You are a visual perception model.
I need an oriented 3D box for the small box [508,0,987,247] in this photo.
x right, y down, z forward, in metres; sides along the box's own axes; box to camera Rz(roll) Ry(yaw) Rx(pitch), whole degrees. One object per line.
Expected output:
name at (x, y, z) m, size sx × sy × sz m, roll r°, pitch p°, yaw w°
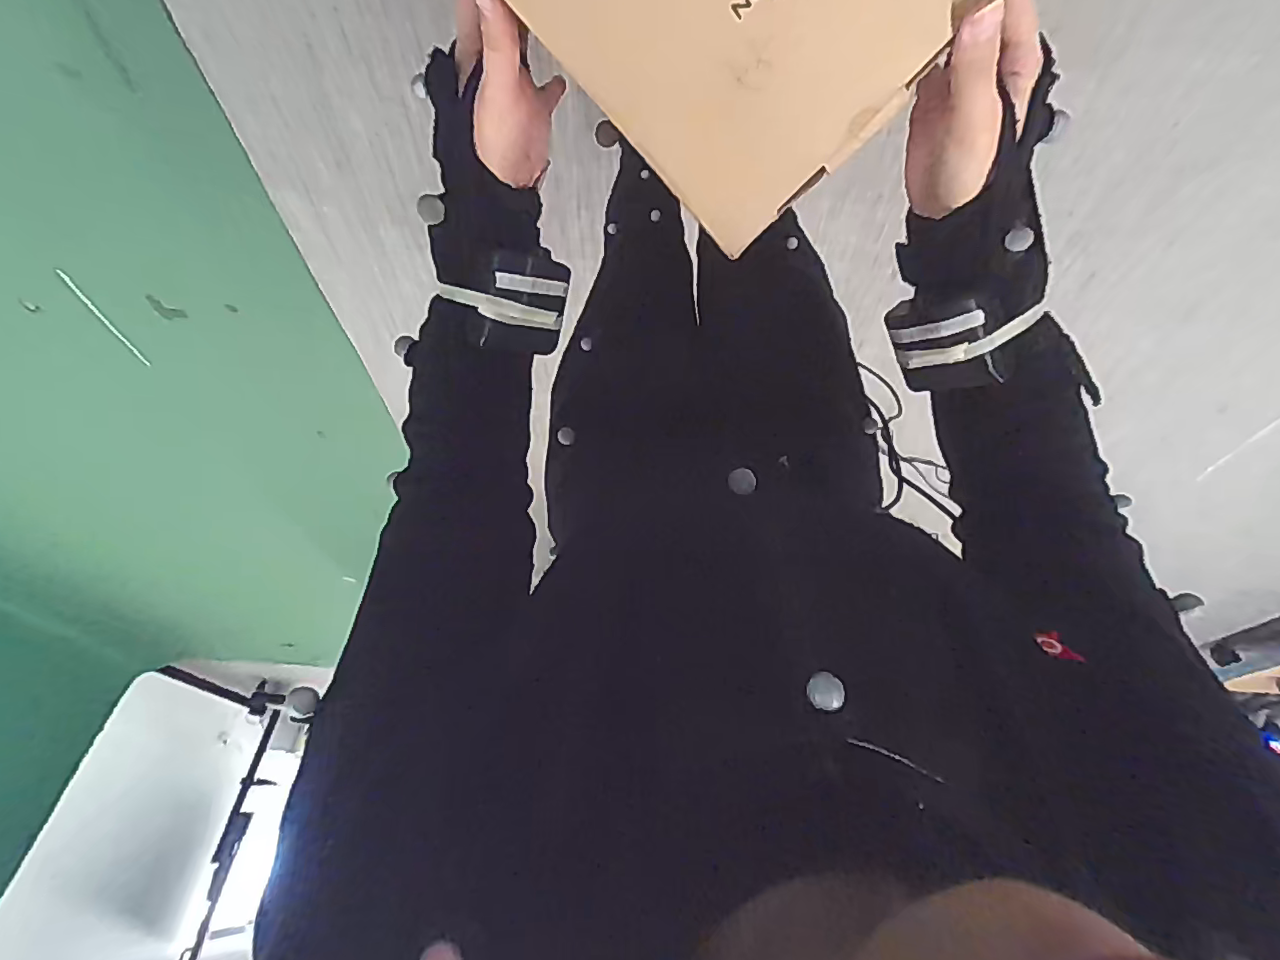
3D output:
small box at (0.042, -0.266, 0.289) m, size 0.179 × 0.176 × 0.168 m, roll 37°, pitch 116°, yaw -25°
